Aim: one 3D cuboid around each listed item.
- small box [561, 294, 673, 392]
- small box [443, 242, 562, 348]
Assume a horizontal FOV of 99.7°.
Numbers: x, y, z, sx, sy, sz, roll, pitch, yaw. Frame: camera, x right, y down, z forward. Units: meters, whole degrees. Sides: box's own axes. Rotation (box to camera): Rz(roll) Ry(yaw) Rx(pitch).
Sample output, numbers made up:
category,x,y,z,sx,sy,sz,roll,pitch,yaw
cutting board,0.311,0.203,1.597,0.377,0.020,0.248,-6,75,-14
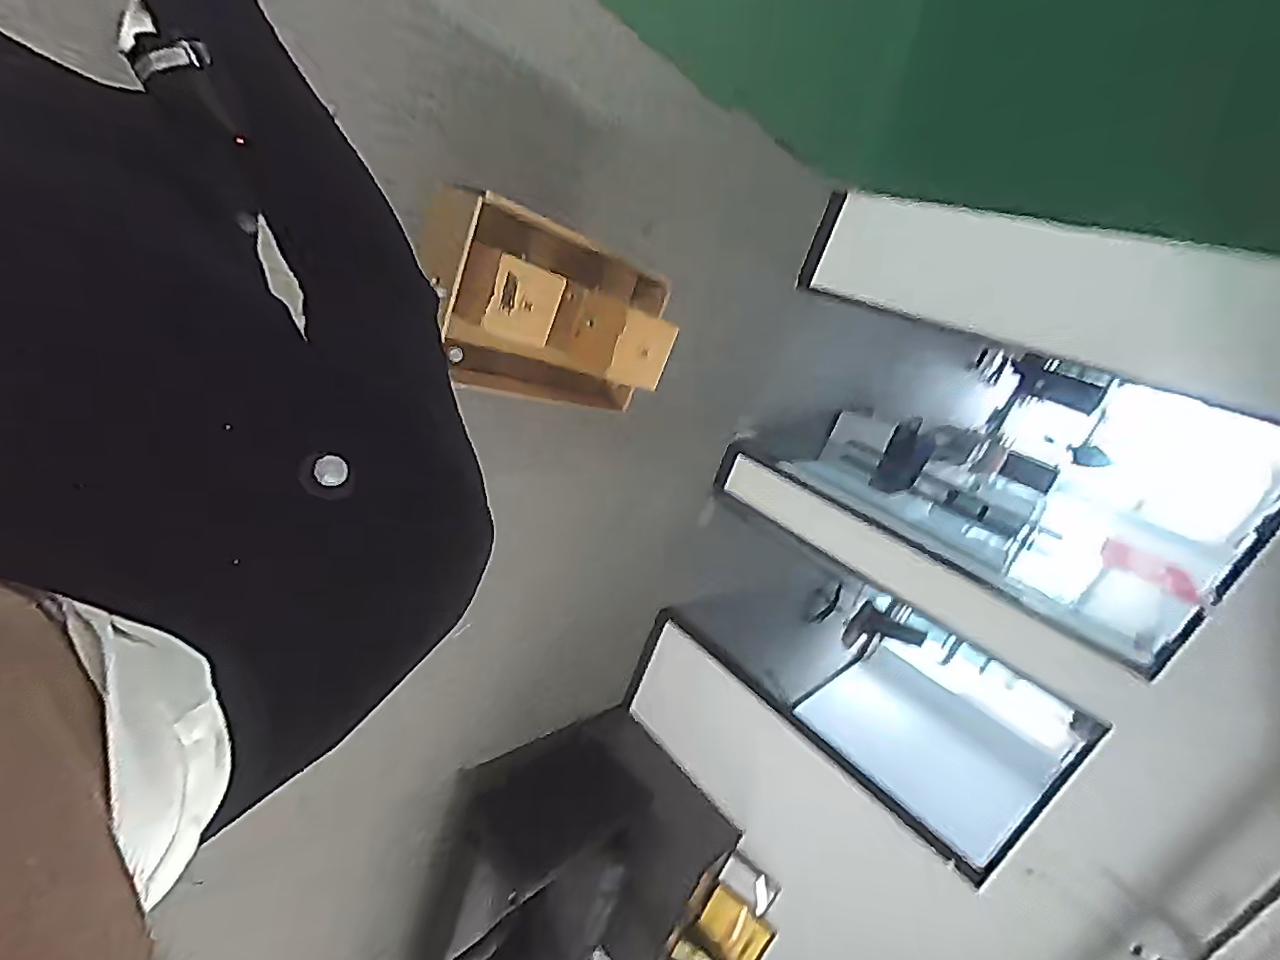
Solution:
category,x,y,z,sx,sy,sz,roll,pitch,yaw
small box,-0.058,-0.333,1.311,0.179,0.176,0.168,4,115,-48
small box,-0.314,-0.419,1.222,0.179,0.176,0.168,3,115,-51
